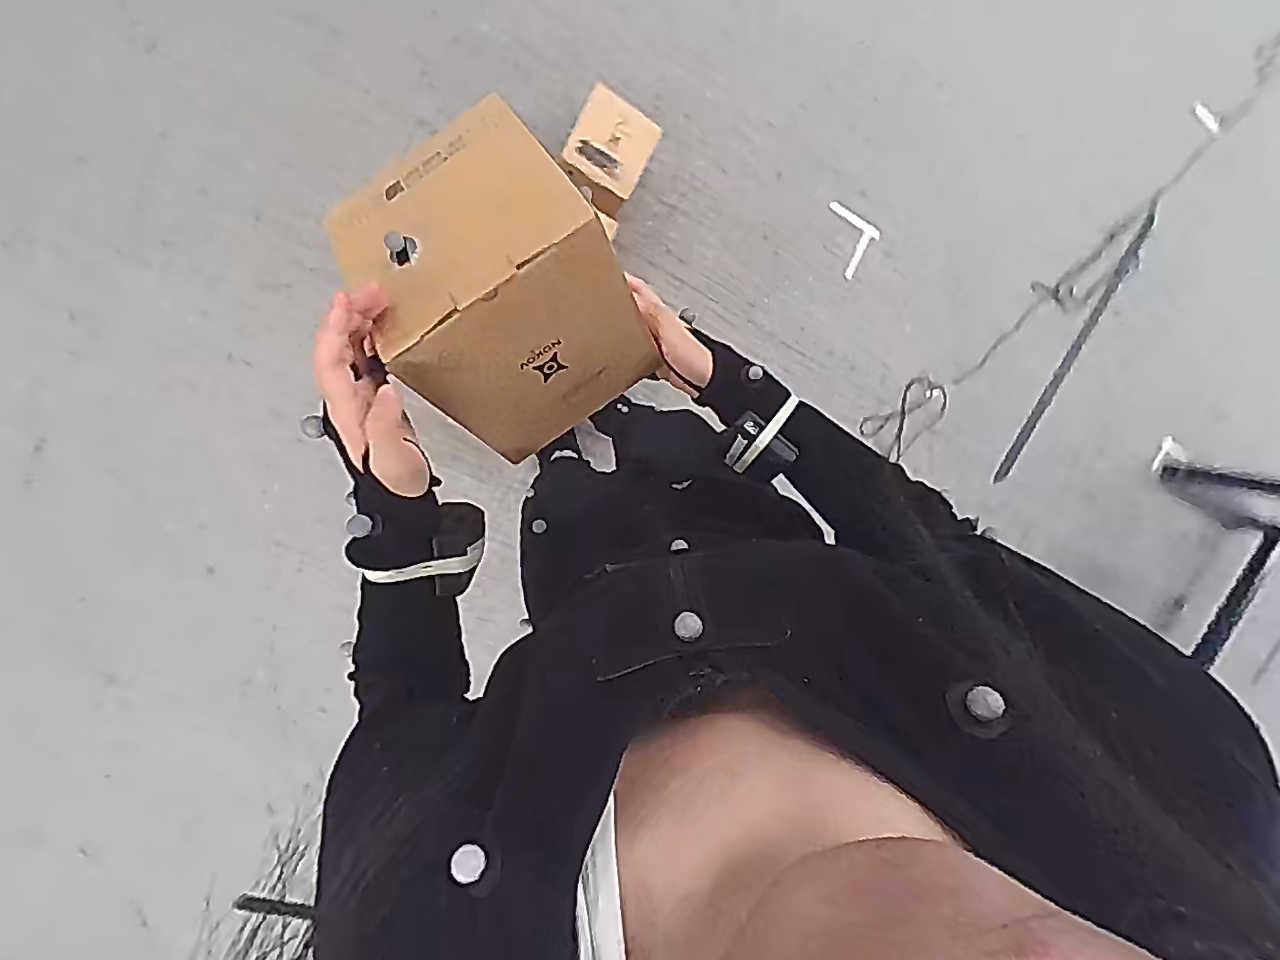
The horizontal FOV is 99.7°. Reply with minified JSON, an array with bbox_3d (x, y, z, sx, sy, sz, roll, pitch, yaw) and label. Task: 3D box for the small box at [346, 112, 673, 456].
[{"bbox_3d":[-0.100,-0.156,0.440,0.168,0.179,0.176,-33,64,3],"label":"small box"}]
